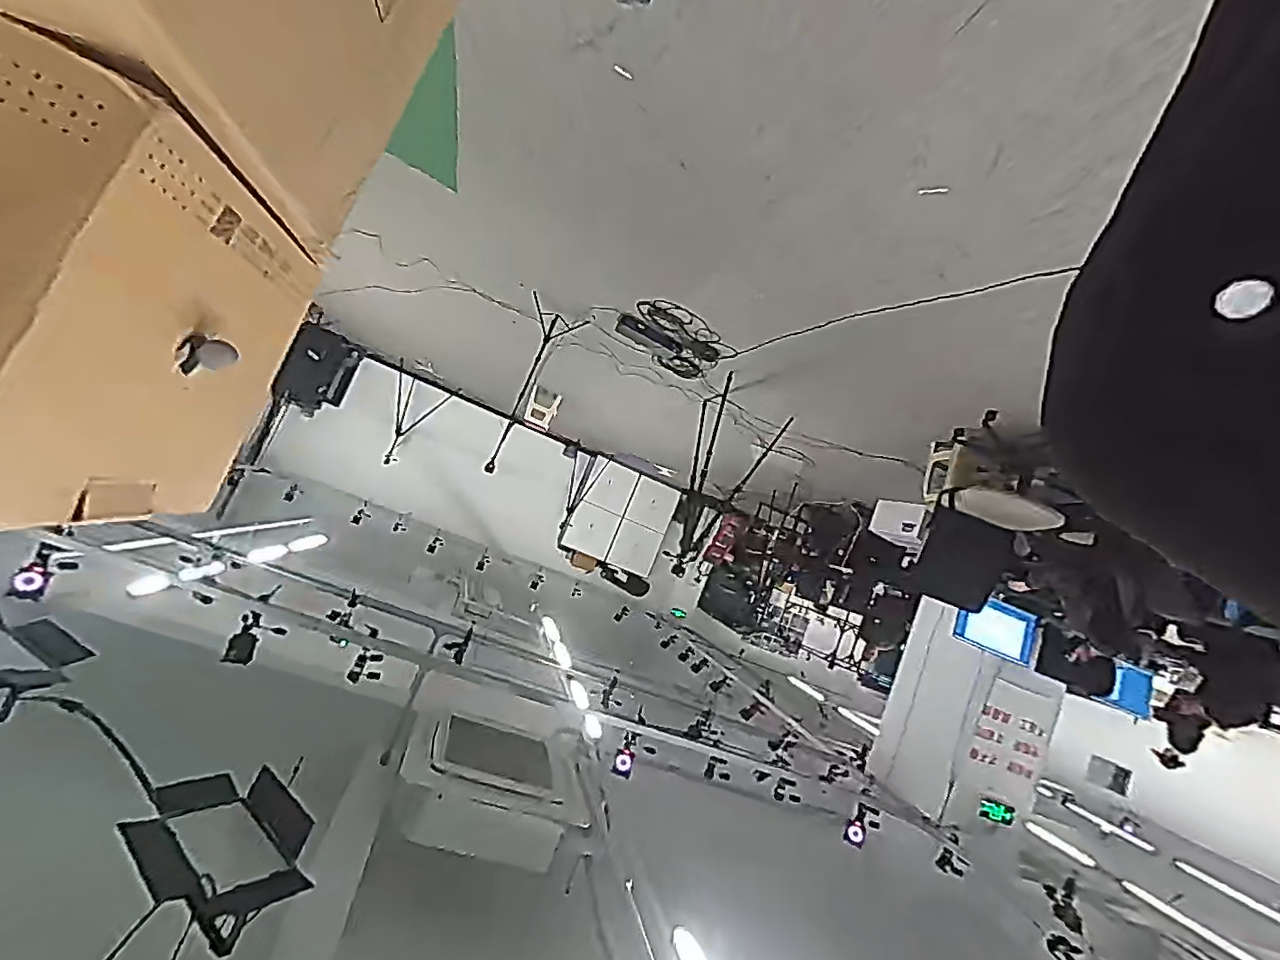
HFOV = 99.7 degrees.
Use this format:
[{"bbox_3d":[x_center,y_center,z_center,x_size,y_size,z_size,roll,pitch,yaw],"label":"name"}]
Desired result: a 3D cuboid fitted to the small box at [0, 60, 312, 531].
[{"bbox_3d":[-0.294,-0.090,0.263,0.179,0.176,0.168,23,175,-11],"label":"small box"}]
